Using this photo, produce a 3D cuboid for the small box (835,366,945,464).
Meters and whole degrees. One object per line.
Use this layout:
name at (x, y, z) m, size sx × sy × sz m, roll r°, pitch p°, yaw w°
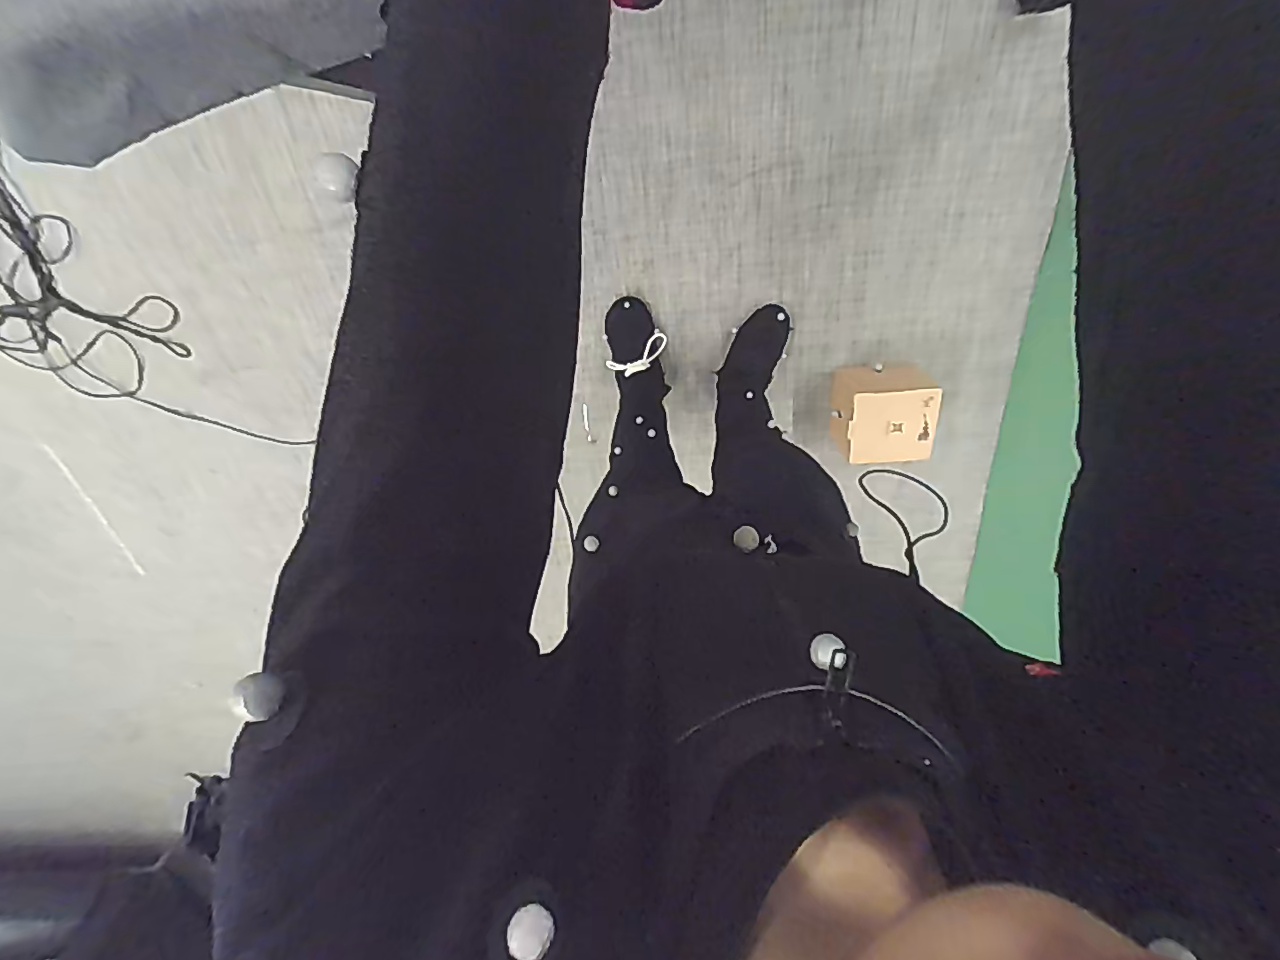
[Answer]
small box at (0.540, -0.146, 1.196) m, size 0.179 × 0.176 × 0.168 m, roll -3°, pitch 119°, yaw 7°
